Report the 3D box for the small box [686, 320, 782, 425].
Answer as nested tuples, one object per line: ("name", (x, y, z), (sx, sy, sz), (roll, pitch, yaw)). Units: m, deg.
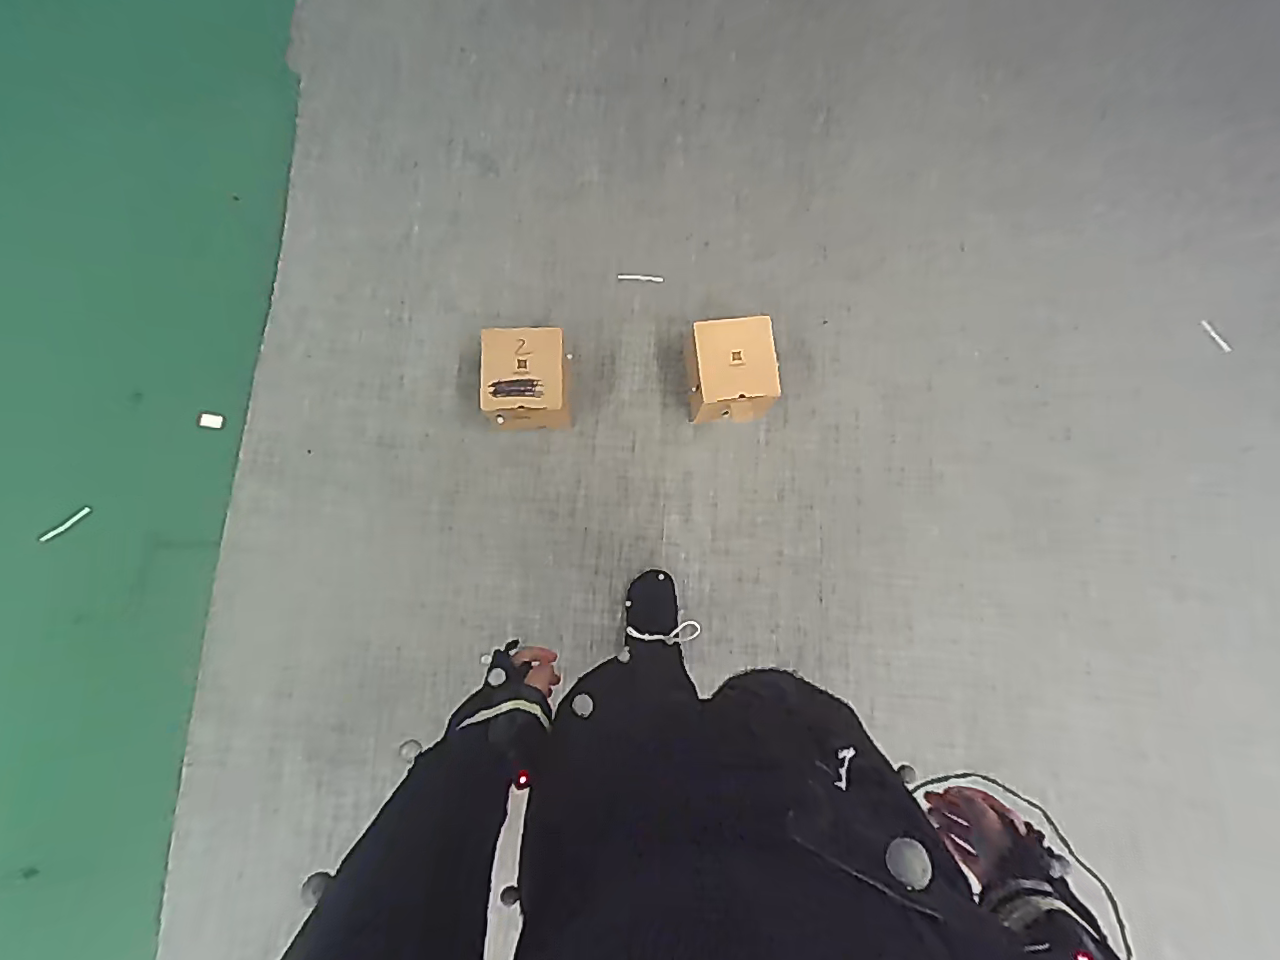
("small box", (0.200, -0.232, 1.193), (0.168, 0.176, 0.179), (-6, 83, -3))
